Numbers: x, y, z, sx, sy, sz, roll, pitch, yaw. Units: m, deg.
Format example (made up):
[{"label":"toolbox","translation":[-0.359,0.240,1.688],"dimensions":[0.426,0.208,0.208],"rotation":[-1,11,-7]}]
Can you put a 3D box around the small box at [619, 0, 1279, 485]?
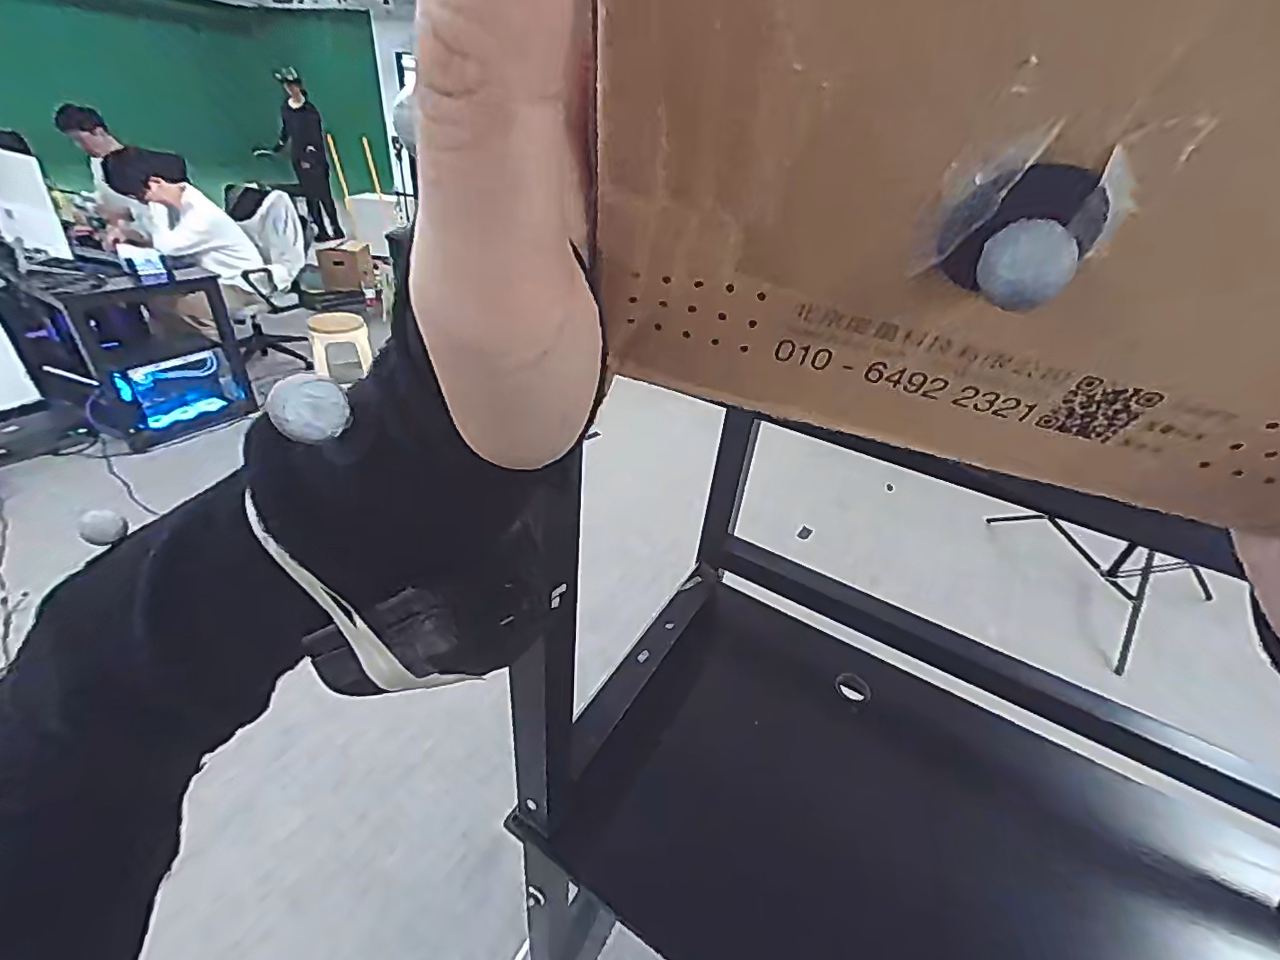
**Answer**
[{"label":"small box","translation":[0.095,-0.127,0.098],"dimensions":[0.168,0.176,0.179],"rotation":[14,60,3]}]
